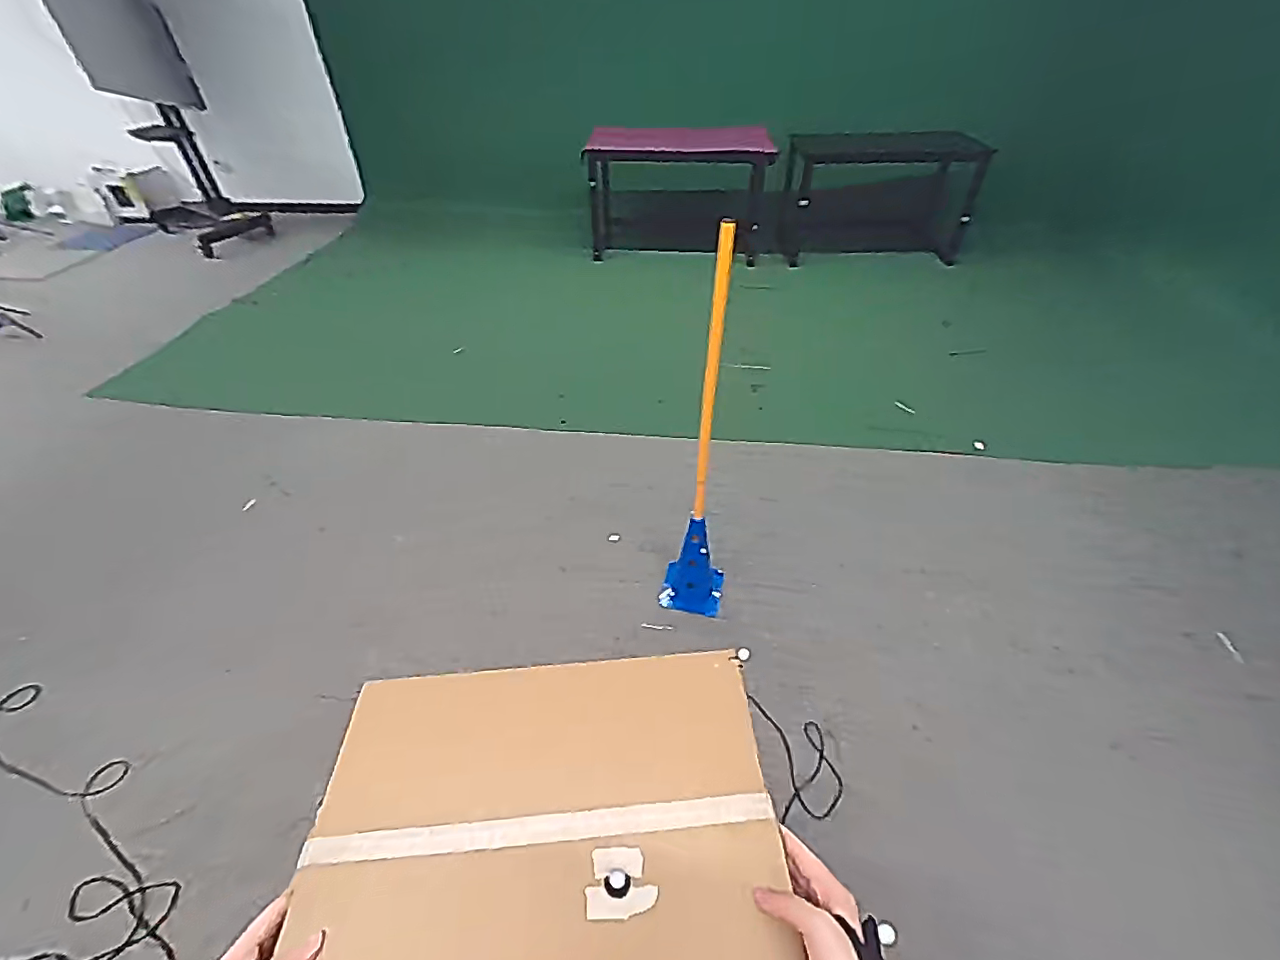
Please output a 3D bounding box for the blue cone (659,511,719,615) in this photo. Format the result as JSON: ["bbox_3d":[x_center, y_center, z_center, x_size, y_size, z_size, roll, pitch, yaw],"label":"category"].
[{"bbox_3d":[0.169,0.253,1.753,0.193,0.380,0.192,10,42,12],"label":"blue cone"}]

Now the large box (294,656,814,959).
[{"bbox_3d":[-0.071,0.421,0.575,0.408,0.320,0.320,-4,42,-2],"label":"large box"}]
